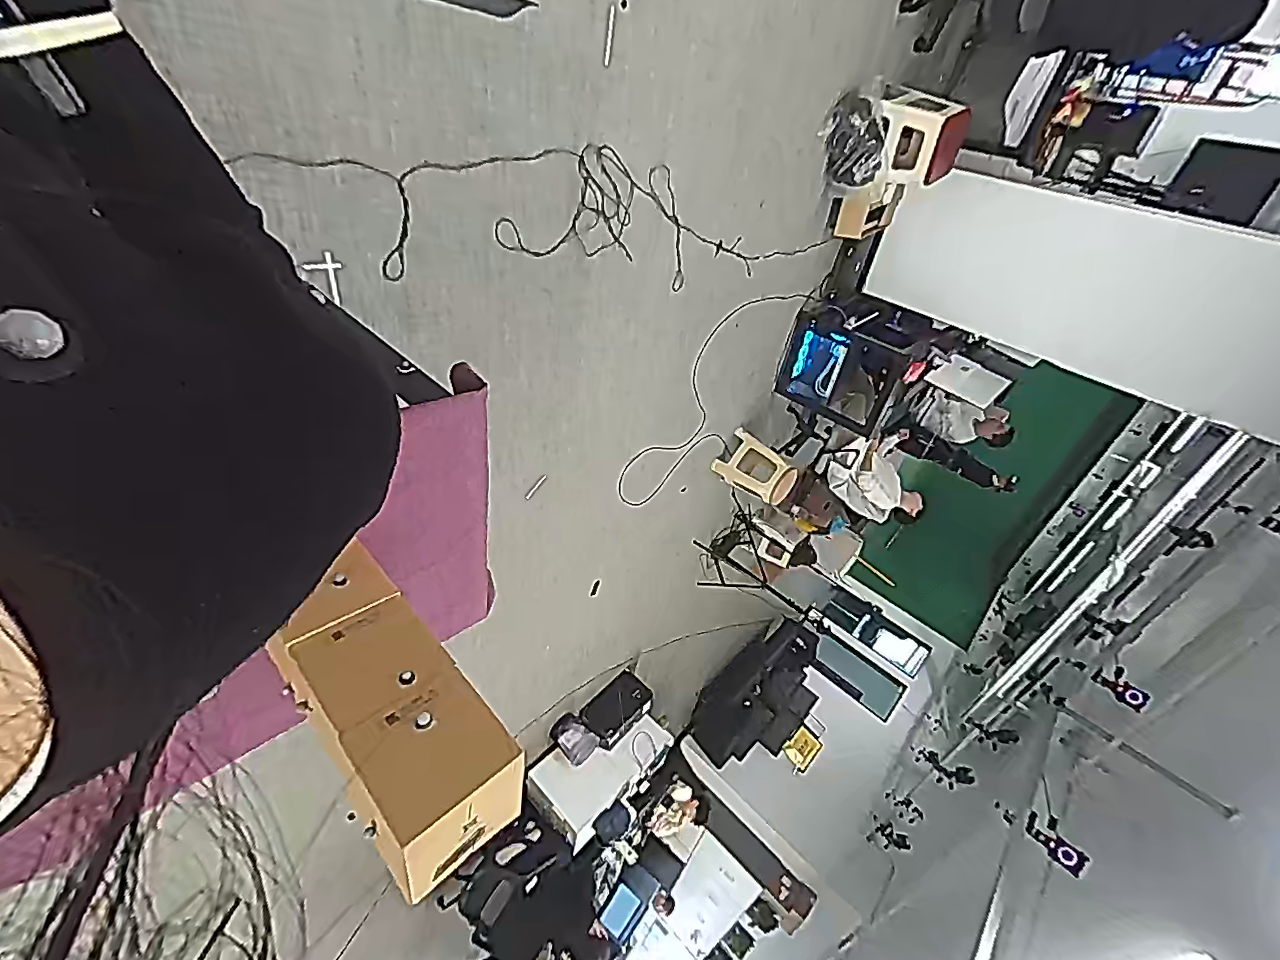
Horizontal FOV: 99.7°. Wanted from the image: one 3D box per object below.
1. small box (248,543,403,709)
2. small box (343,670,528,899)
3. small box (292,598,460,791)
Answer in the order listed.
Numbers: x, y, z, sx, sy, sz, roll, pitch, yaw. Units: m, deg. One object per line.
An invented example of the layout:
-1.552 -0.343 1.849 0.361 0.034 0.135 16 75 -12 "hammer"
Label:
-0.505 0.227 0.885 0.168 0.176 0.179 -26 140 -42 "small box"
-0.272 0.396 0.726 0.168 0.176 0.179 -26 139 -42 "small box"
-0.388 0.314 0.809 0.168 0.176 0.179 -27 141 -42 "small box"
